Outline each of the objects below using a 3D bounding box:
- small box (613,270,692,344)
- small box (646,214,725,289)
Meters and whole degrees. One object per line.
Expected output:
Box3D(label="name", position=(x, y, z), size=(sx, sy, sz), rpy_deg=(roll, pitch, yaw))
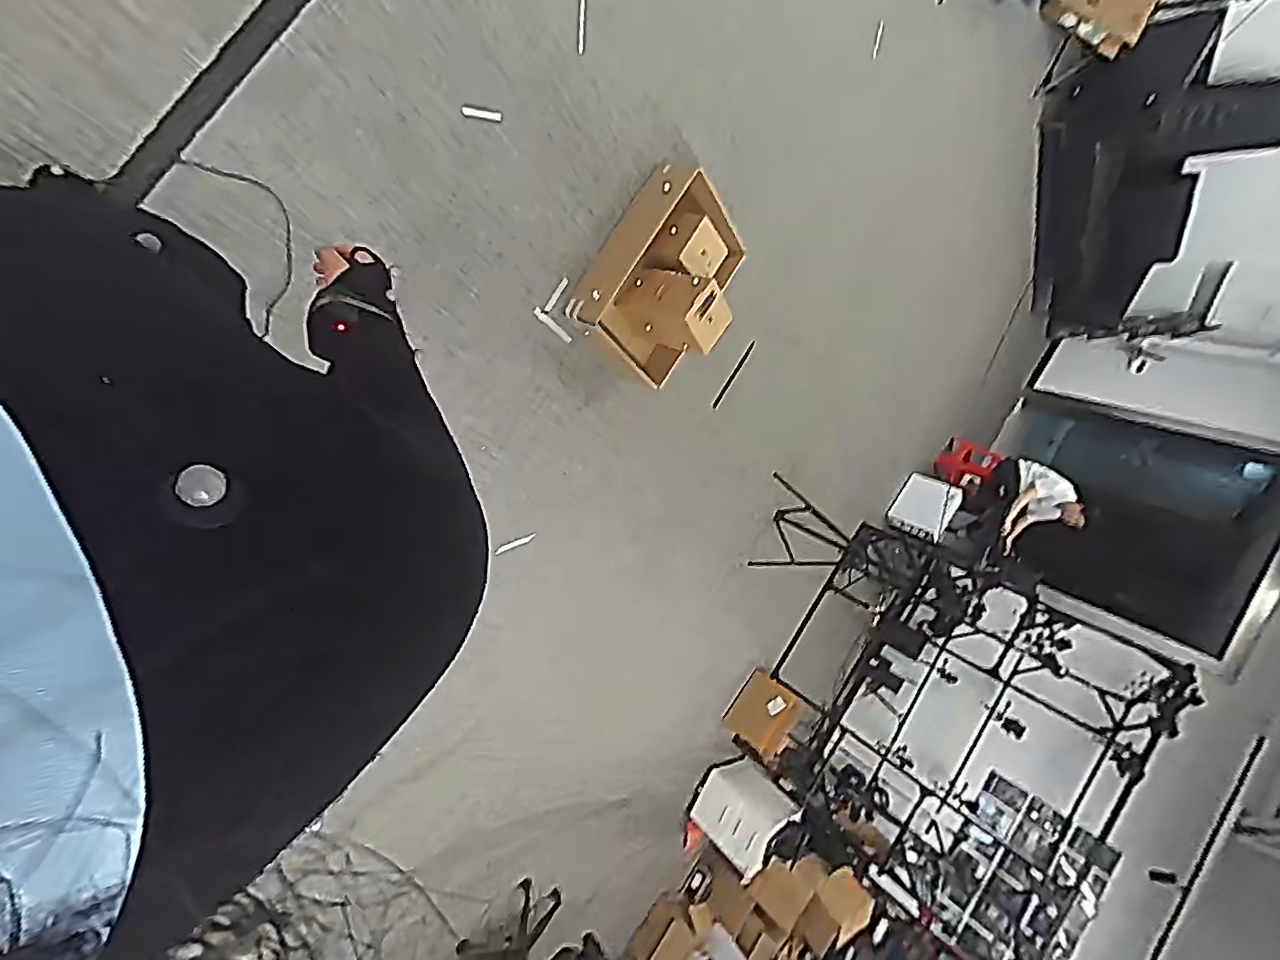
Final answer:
Box3D(label="small box", position=(0.041, -0.594, 1.844), size=(0.168, 0.176, 0.179), rpy_deg=(-56, 139, -9))
Box3D(label="small box", position=(0.150, -0.781, 1.844), size=(0.168, 0.176, 0.179), rpy_deg=(-57, 140, -2))
